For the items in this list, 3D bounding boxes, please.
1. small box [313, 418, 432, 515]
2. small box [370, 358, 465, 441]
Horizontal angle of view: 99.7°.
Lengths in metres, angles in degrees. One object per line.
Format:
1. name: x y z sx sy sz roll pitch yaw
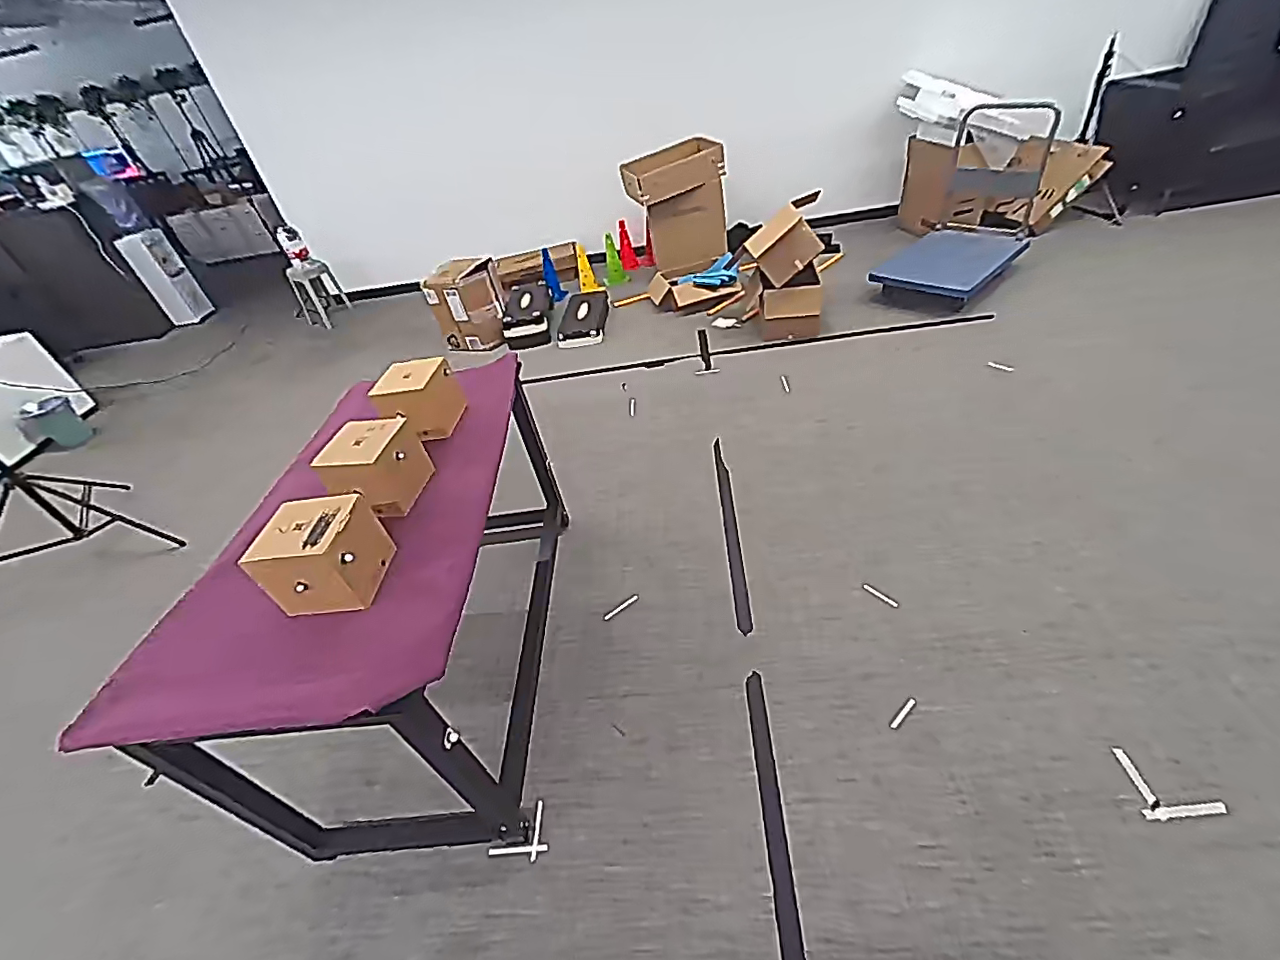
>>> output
1. small box: -0.632 -0.028 1.306 0.168 0.176 0.179 -2 40 11
2. small box: -0.619 -0.222 1.534 0.168 0.176 0.179 -6 40 9
